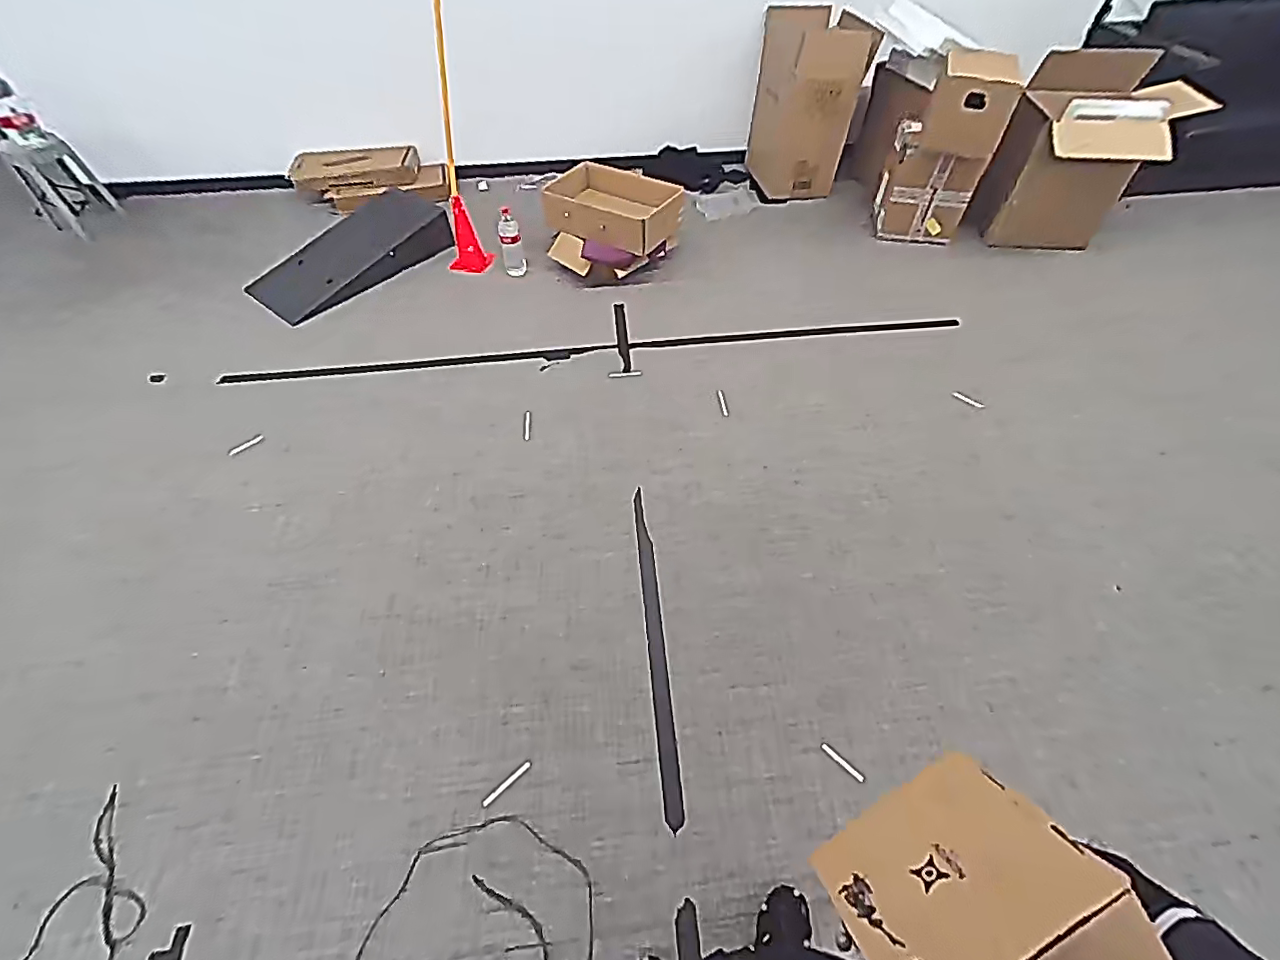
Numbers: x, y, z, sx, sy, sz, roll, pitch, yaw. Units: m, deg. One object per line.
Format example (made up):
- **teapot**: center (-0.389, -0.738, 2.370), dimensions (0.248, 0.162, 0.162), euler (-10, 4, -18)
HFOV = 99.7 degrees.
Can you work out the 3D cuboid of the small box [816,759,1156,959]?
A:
- **small box**: center (0.288, 0.386, 0.447), dimensions (0.179, 0.168, 0.176), euler (-32, 95, -4)
